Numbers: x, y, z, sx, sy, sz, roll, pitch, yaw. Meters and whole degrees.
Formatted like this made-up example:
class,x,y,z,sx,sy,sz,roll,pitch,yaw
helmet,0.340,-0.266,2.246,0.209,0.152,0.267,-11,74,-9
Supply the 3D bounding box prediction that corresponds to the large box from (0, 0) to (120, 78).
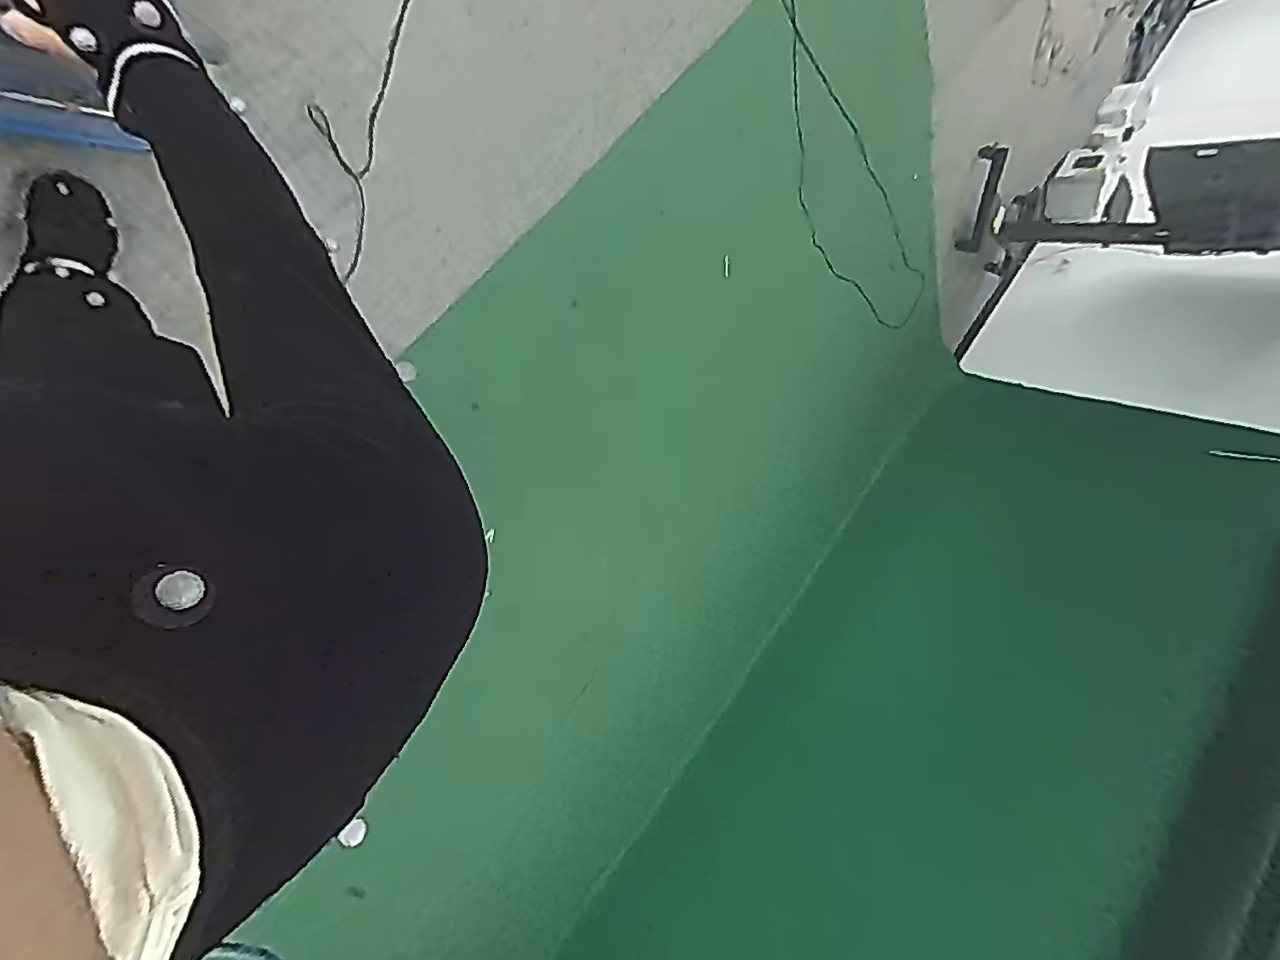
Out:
class,x,y,z,sx,sy,sz,roll,pitch,yaw
large box,-0.897,-0.788,0.656,0.320,0.320,0.408,-15,118,-41
